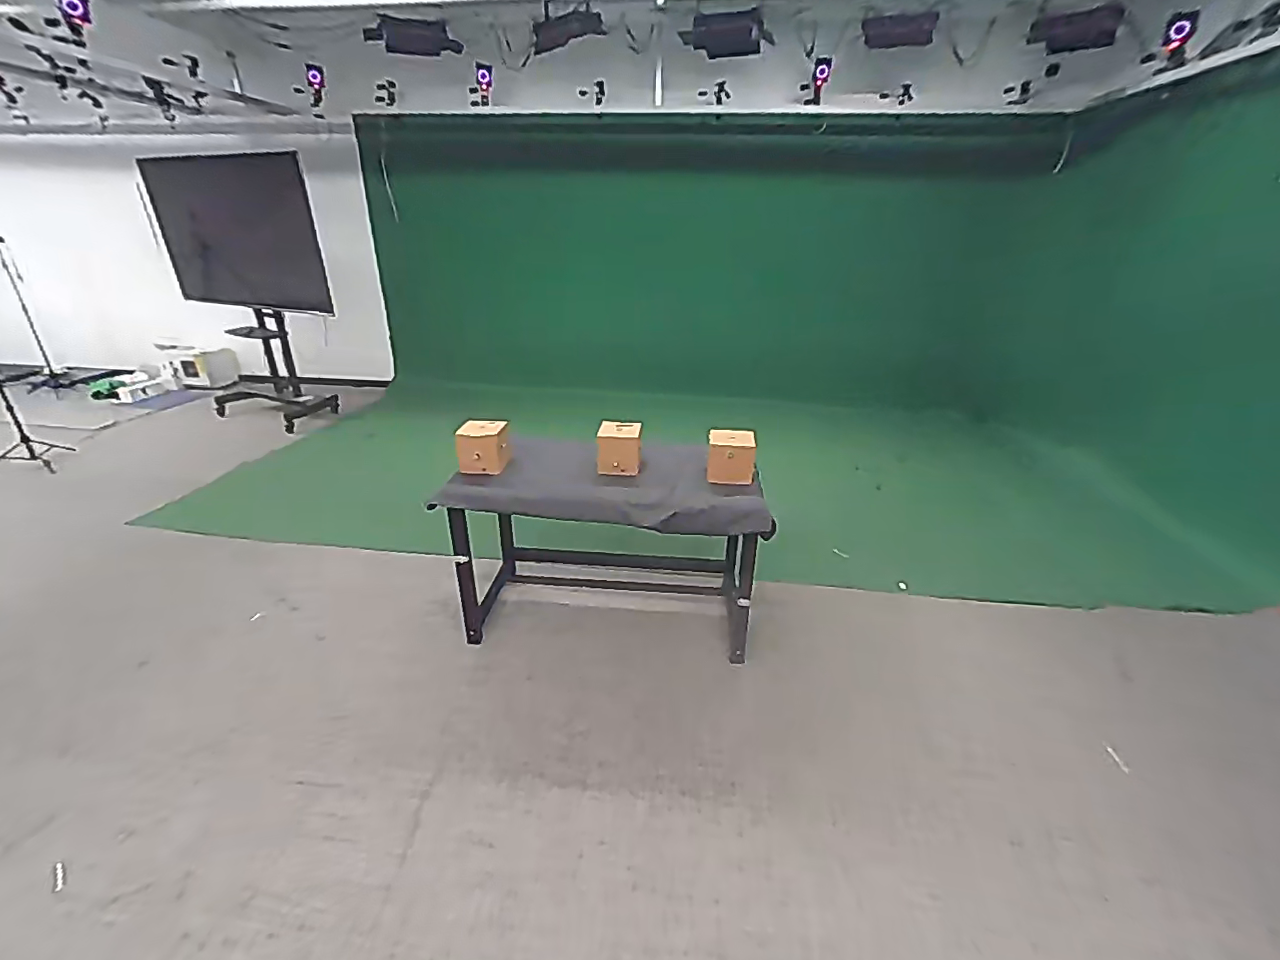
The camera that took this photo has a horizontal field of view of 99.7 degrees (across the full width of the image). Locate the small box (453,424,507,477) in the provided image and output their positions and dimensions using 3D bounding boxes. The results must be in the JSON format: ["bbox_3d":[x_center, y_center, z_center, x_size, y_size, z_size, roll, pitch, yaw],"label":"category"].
[{"bbox_3d":[-0.646,-0.119,2.212,0.168,0.176,0.179,3,25,1],"label":"small box"}]

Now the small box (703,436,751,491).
[{"bbox_3d":[0.346,-0.066,2.173,0.179,0.176,0.168,5,26,5],"label":"small box"}]

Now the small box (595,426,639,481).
[{"bbox_3d":[-0.094,-0.111,2.236,0.168,0.176,0.179,3,26,3],"label":"small box"}]
